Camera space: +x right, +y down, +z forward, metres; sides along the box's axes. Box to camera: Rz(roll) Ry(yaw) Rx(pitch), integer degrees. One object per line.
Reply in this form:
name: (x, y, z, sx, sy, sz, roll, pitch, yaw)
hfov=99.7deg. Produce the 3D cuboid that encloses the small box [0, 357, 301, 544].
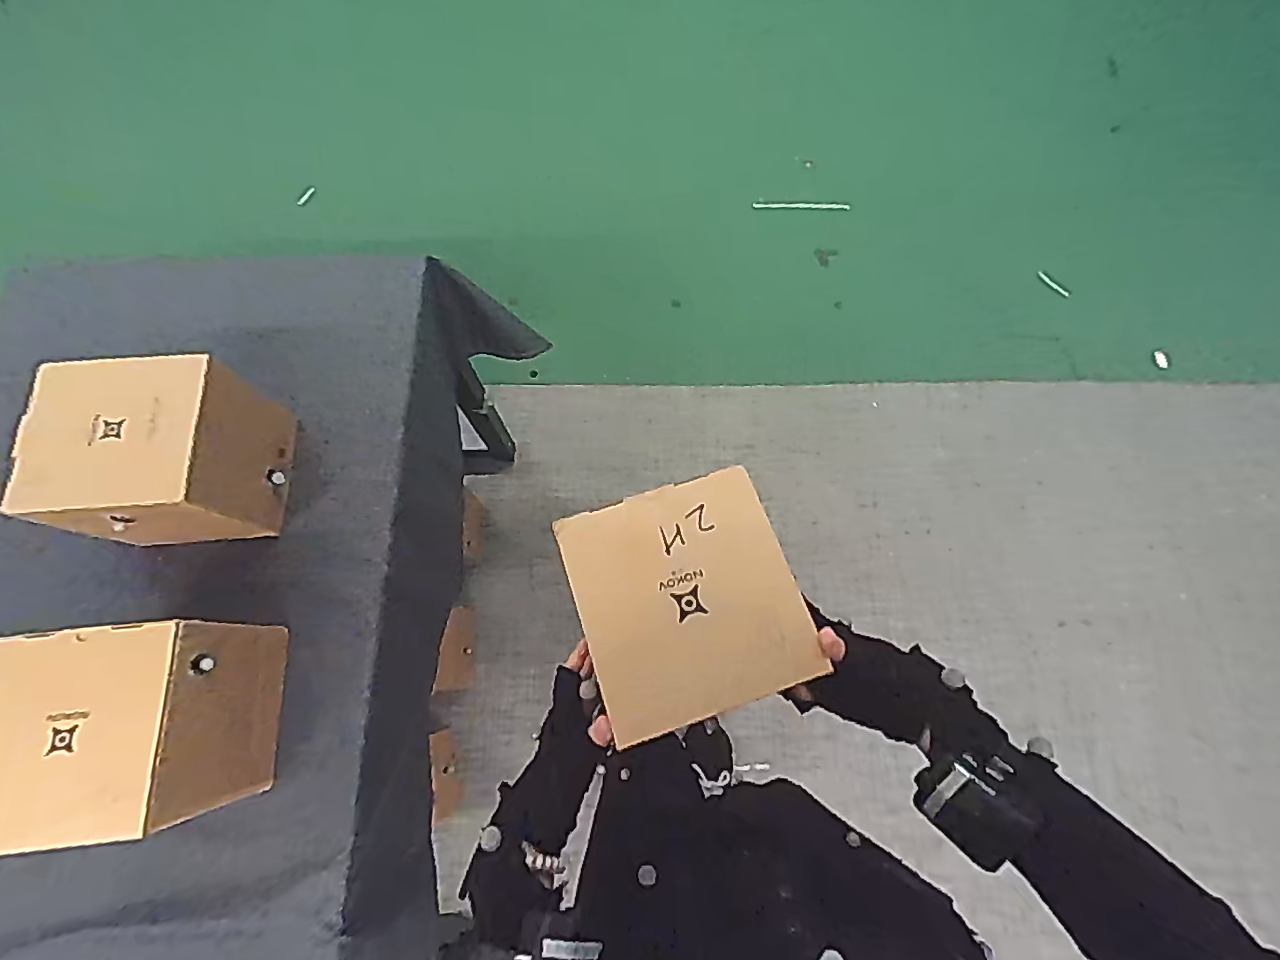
small box: (-0.533, -0.024, 0.618, 0.179, 0.176, 0.168, -3, 74, -2)

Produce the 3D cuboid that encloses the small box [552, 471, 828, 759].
small box: (0.034, 0.119, 0.478, 0.168, 0.176, 0.179, -17, 69, -7)

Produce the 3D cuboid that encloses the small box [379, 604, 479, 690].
small box: (-0.479, 0.385, 1.250, 0.168, 0.176, 0.179, -2, 74, -1)

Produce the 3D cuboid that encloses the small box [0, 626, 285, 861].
small box: (-0.488, 0.243, 0.536, 0.168, 0.176, 0.179, -5, 72, -2)
